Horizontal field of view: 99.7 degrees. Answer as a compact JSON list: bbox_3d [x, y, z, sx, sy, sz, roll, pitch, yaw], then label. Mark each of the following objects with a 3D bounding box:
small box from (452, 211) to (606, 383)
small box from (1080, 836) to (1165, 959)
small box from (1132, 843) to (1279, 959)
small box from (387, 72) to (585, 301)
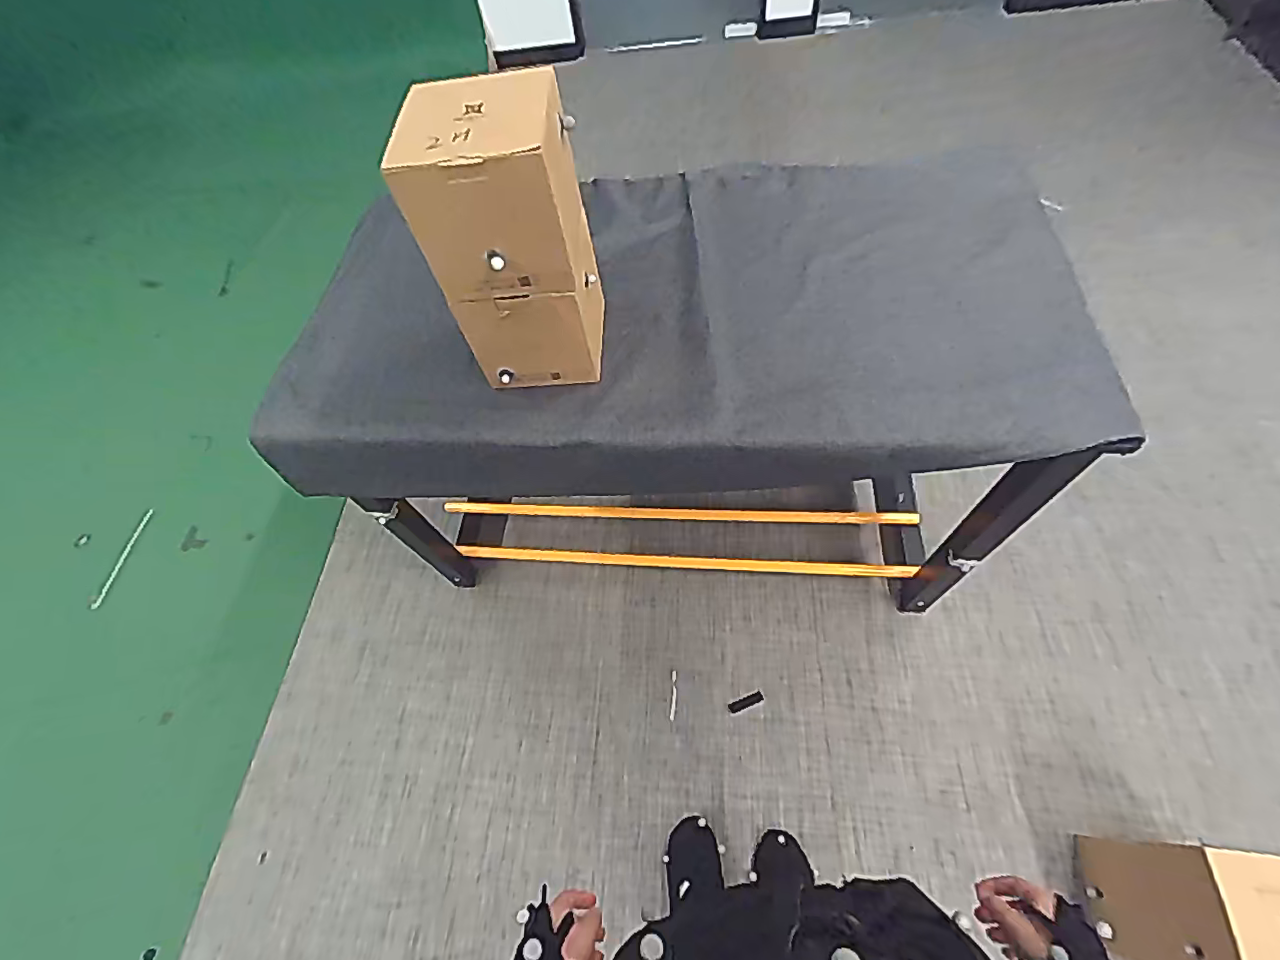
[{"bbox_3d":[-0.145,-0.253,0.778,0.168,0.176,0.179,-2,58,6],"label":"small box"},{"bbox_3d":[0.895,0.723,0.911,0.168,0.176,0.179,3,61,9],"label":"small box"},{"bbox_3d":[0.872,0.638,0.774,0.168,0.176,0.179,2,59,8],"label":"small box"},{"bbox_3d":[-0.163,-0.339,0.639,0.168,0.176,0.179,-5,59,5],"label":"small box"}]
